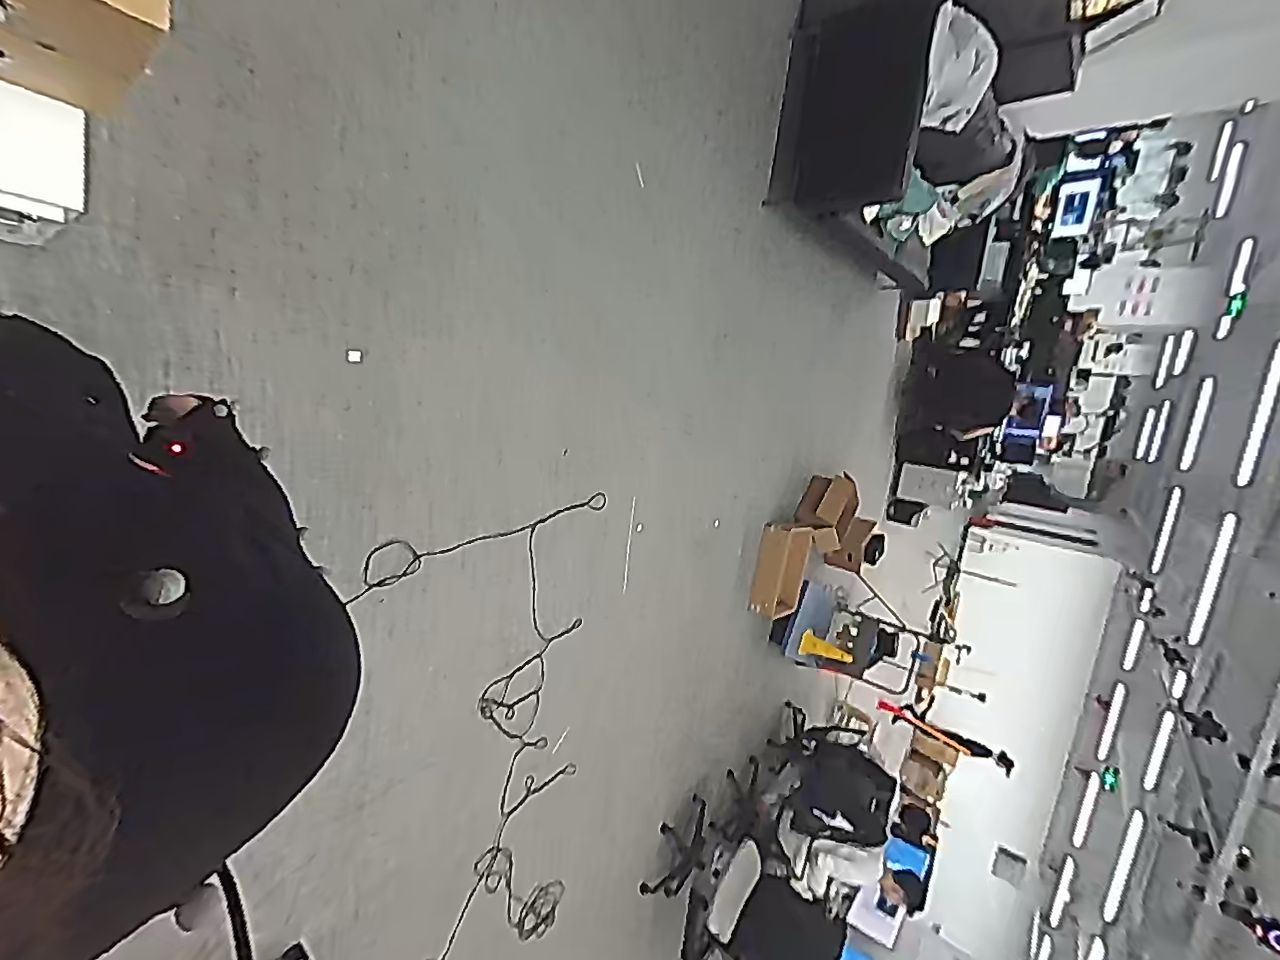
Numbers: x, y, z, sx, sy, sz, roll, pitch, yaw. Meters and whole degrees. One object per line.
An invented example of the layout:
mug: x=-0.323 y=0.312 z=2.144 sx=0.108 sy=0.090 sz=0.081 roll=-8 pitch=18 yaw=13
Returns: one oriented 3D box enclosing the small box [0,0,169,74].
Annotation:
small box: x=-0.470 y=-0.451 z=0.402 sx=0.168 sy=0.176 sz=0.179 roll=-2 pitch=103 yaw=-51
